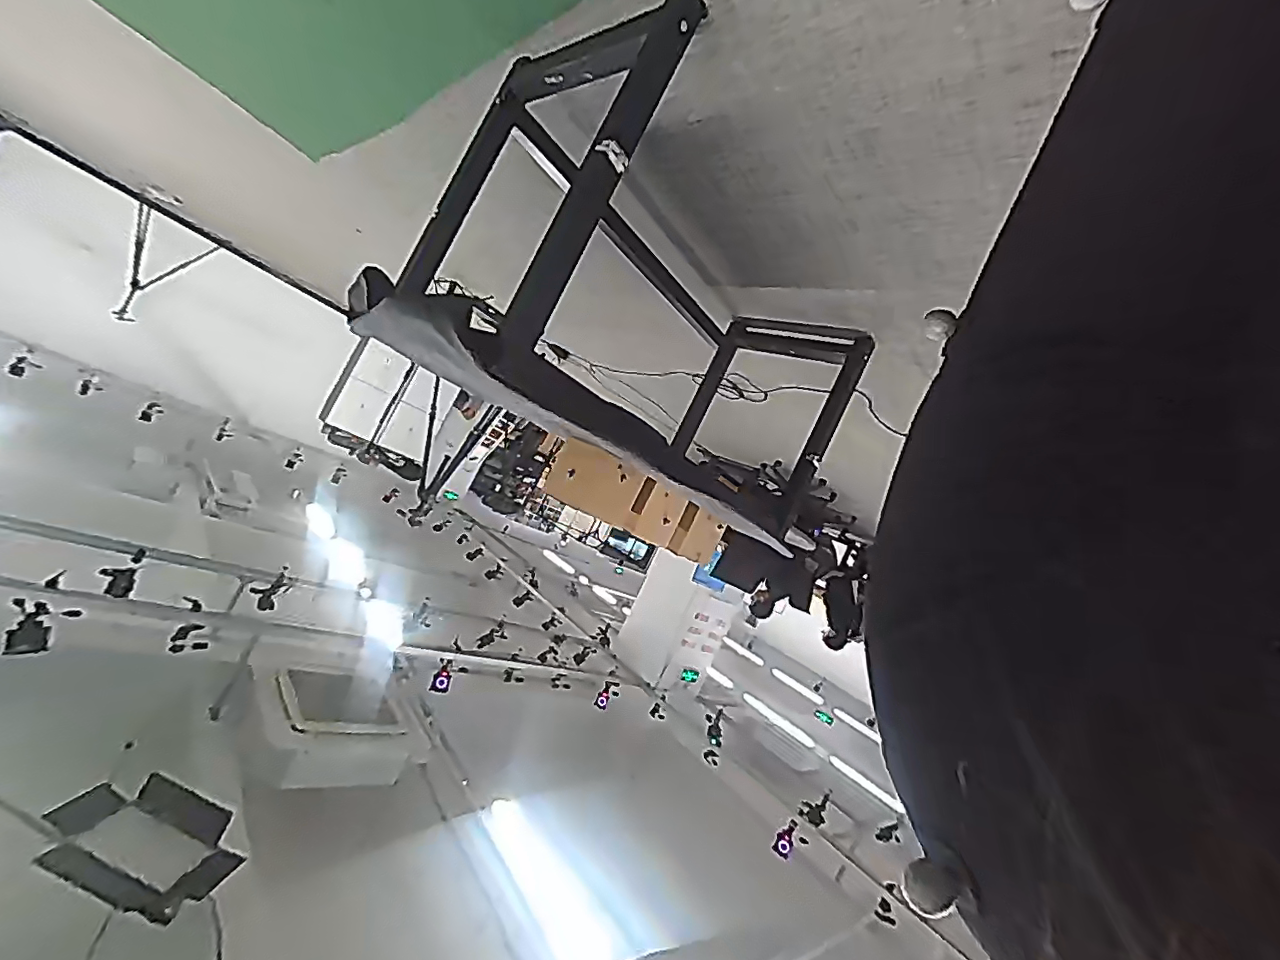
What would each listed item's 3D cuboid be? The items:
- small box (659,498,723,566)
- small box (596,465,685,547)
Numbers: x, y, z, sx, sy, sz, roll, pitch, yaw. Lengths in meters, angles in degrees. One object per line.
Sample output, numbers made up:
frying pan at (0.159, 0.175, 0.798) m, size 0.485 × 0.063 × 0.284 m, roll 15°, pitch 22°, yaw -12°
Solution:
small box at (0.147, 0.153, 1.749) m, size 0.168 × 0.176 × 0.179 m, roll 30°, pitch 176°, yaw -43°
small box at (0.010, 0.071, 1.575) m, size 0.179 × 0.176 × 0.168 m, roll 25°, pitch 176°, yaw 44°
